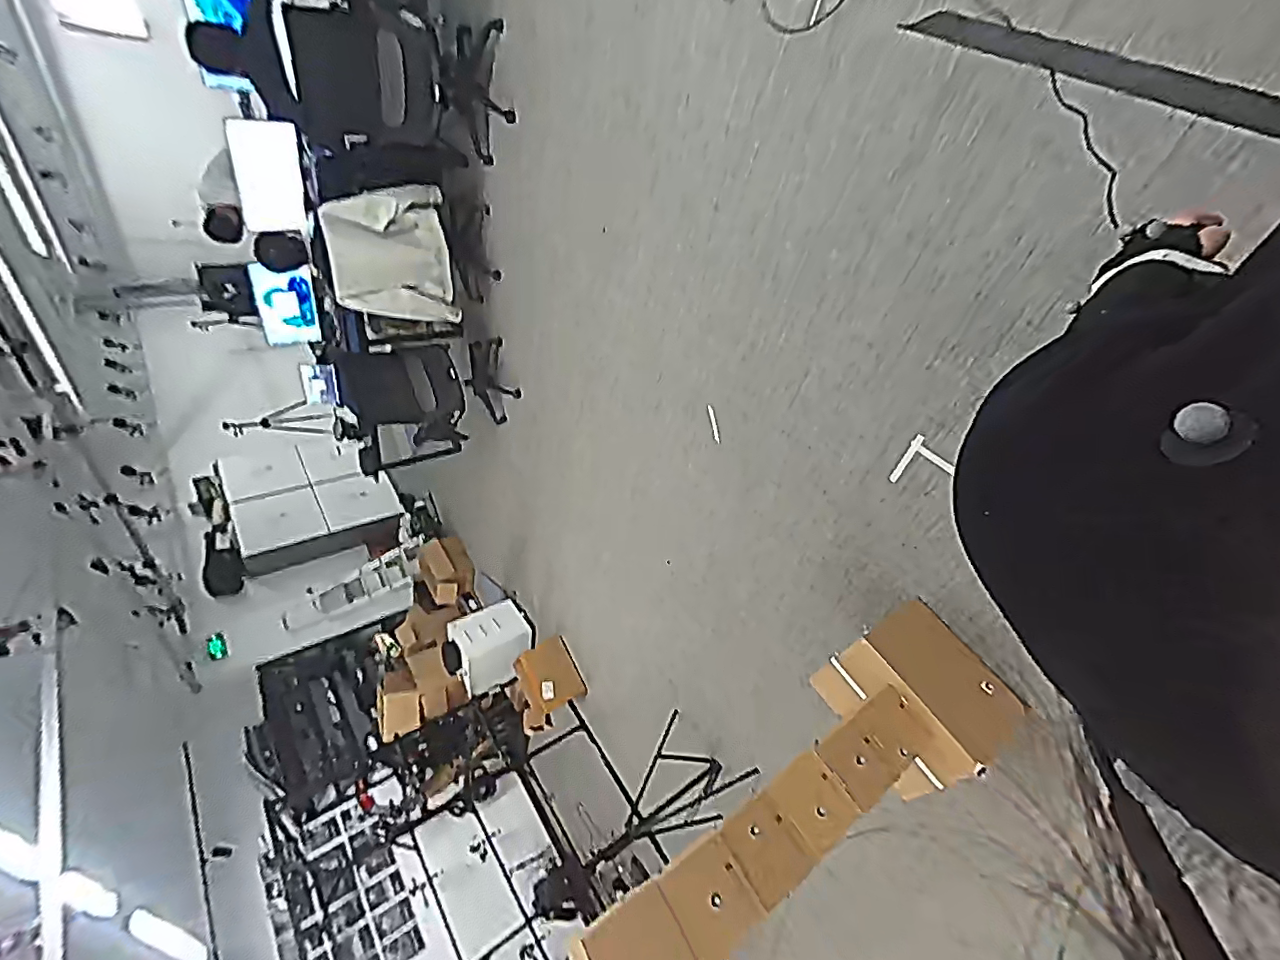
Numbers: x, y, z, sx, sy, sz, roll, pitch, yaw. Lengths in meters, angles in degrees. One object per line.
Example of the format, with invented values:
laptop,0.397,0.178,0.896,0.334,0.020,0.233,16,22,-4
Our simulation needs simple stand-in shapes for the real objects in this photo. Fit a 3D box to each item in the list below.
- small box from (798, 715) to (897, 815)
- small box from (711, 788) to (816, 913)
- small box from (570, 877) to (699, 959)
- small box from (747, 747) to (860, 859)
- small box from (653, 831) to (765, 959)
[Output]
small box,0.515,0.730,1.368,0.168,0.176,0.179,52,141,26
small box,0.257,0.817,1.191,0.168,0.176,0.179,51,143,29
small box,-0.006,0.891,1.007,0.179,0.176,0.168,53,142,28
small box,0.386,0.769,1.278,0.168,0.176,0.179,50,142,28
small box,0.125,0.853,1.099,0.168,0.176,0.179,53,143,27
